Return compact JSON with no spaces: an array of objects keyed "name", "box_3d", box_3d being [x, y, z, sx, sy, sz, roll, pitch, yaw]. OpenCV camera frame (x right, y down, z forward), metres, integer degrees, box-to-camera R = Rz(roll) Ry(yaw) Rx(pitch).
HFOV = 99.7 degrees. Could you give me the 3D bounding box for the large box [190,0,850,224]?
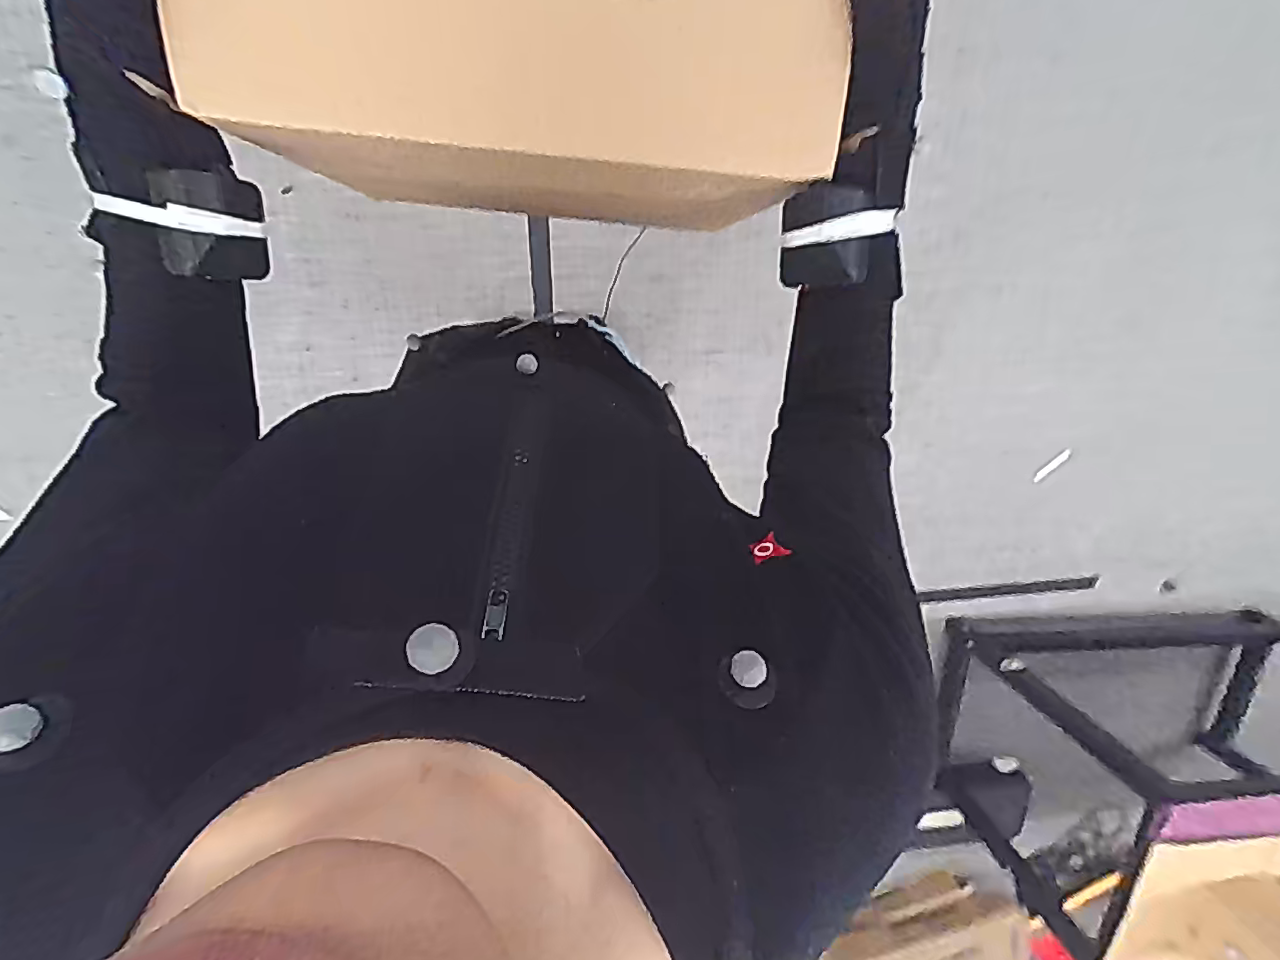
[{"name":"large box","box_3d":[-0.075,-0.410,0.447,0.408,0.320,0.320,1,109,-8]}]
